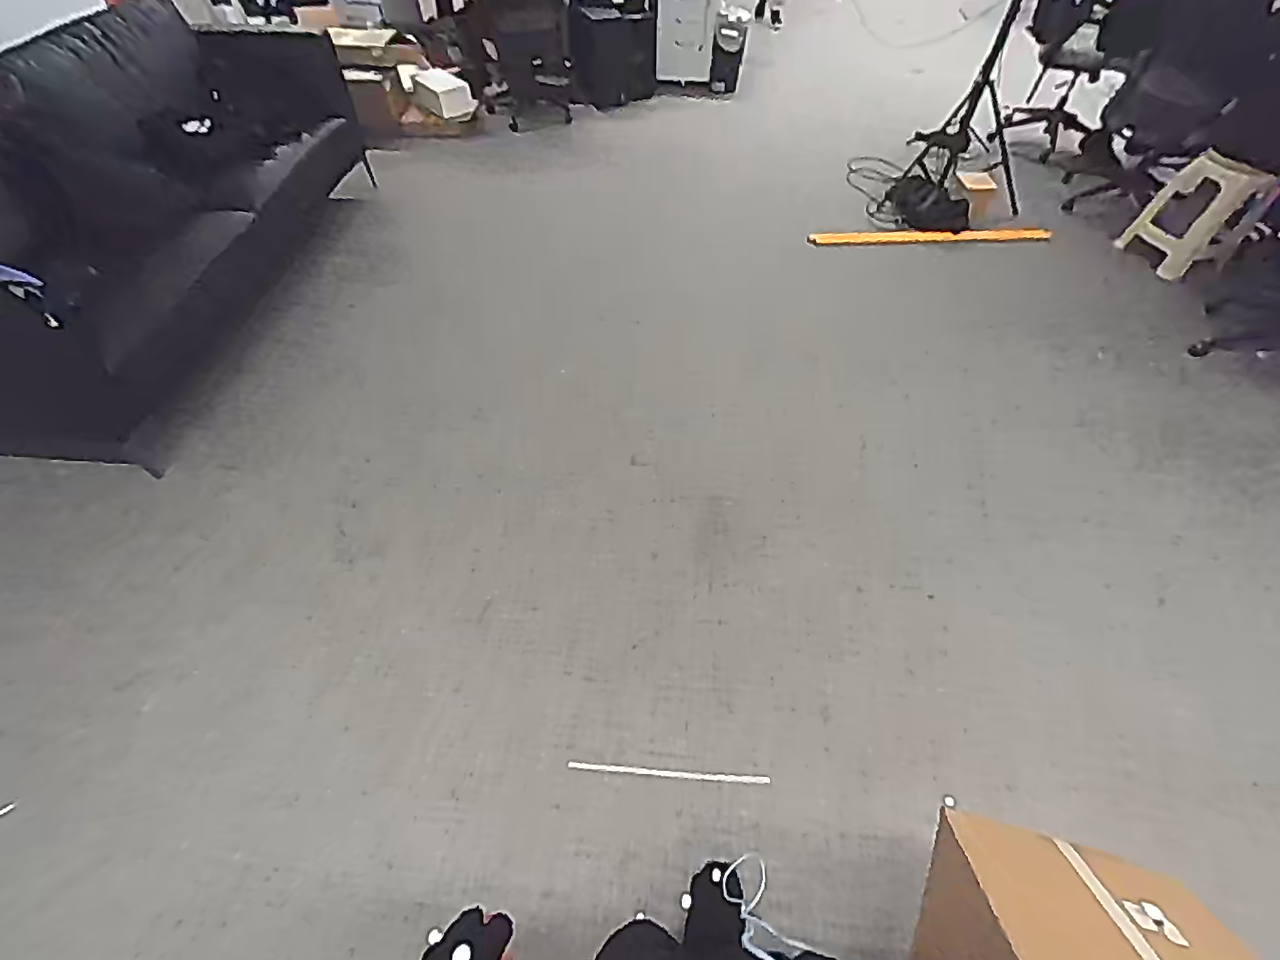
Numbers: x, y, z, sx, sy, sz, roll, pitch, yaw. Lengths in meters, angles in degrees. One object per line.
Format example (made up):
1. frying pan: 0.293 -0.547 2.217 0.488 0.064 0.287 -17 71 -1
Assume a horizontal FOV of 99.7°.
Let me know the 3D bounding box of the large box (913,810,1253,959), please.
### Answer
1. large box: 0.546 0.693 0.626 0.320 0.408 0.320 12 94 14
